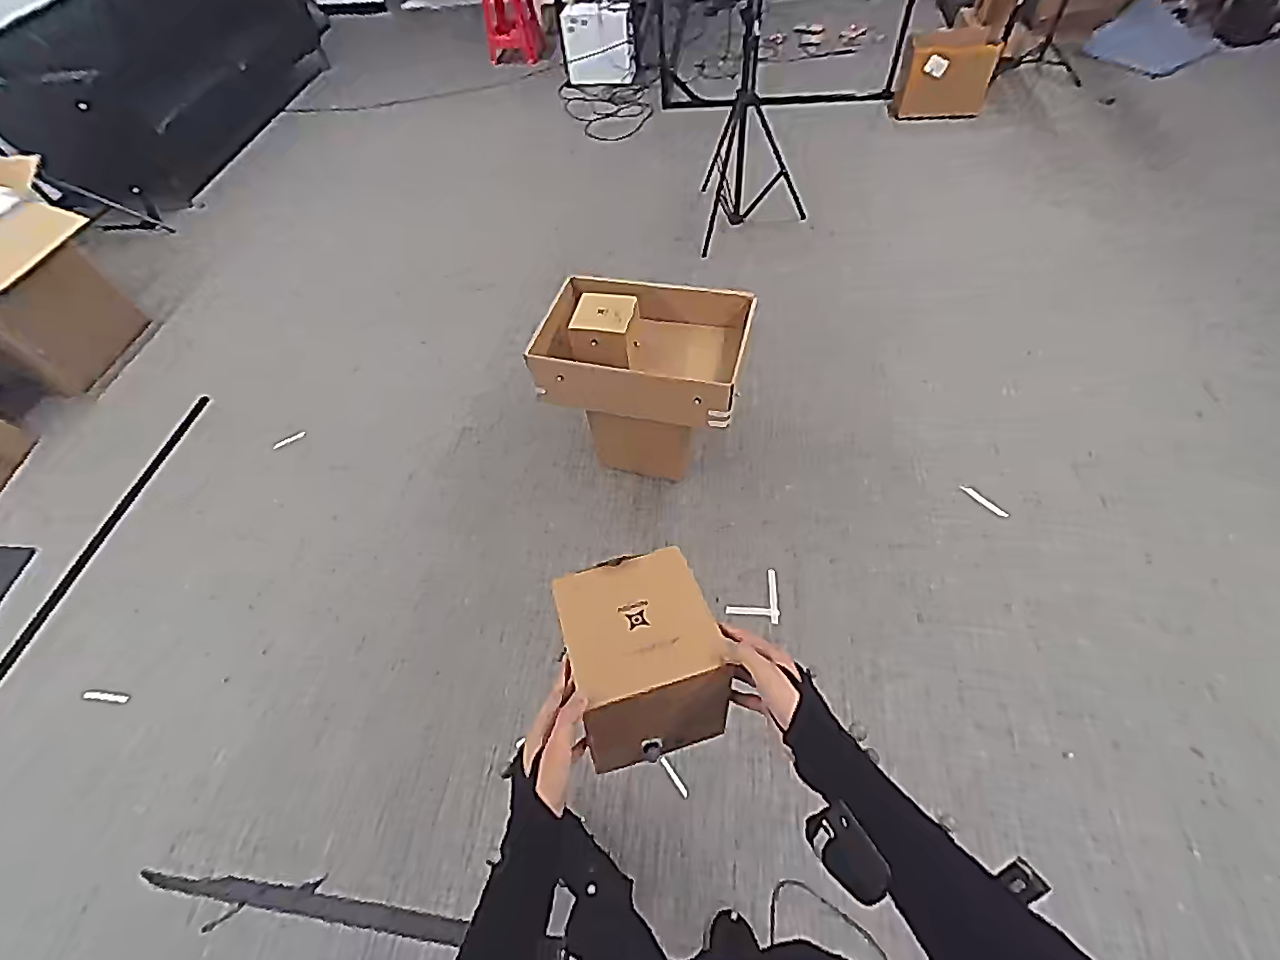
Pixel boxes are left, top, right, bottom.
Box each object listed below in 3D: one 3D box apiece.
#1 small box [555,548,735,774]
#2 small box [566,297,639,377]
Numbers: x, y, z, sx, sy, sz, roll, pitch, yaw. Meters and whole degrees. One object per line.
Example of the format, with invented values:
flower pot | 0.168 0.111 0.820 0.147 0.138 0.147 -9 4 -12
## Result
small box | 0.000 0.215 0.654 0.168 0.176 0.179 -13 41 -11
small box | -0.108 -0.435 1.655 0.179 0.176 0.168 8 57 10
